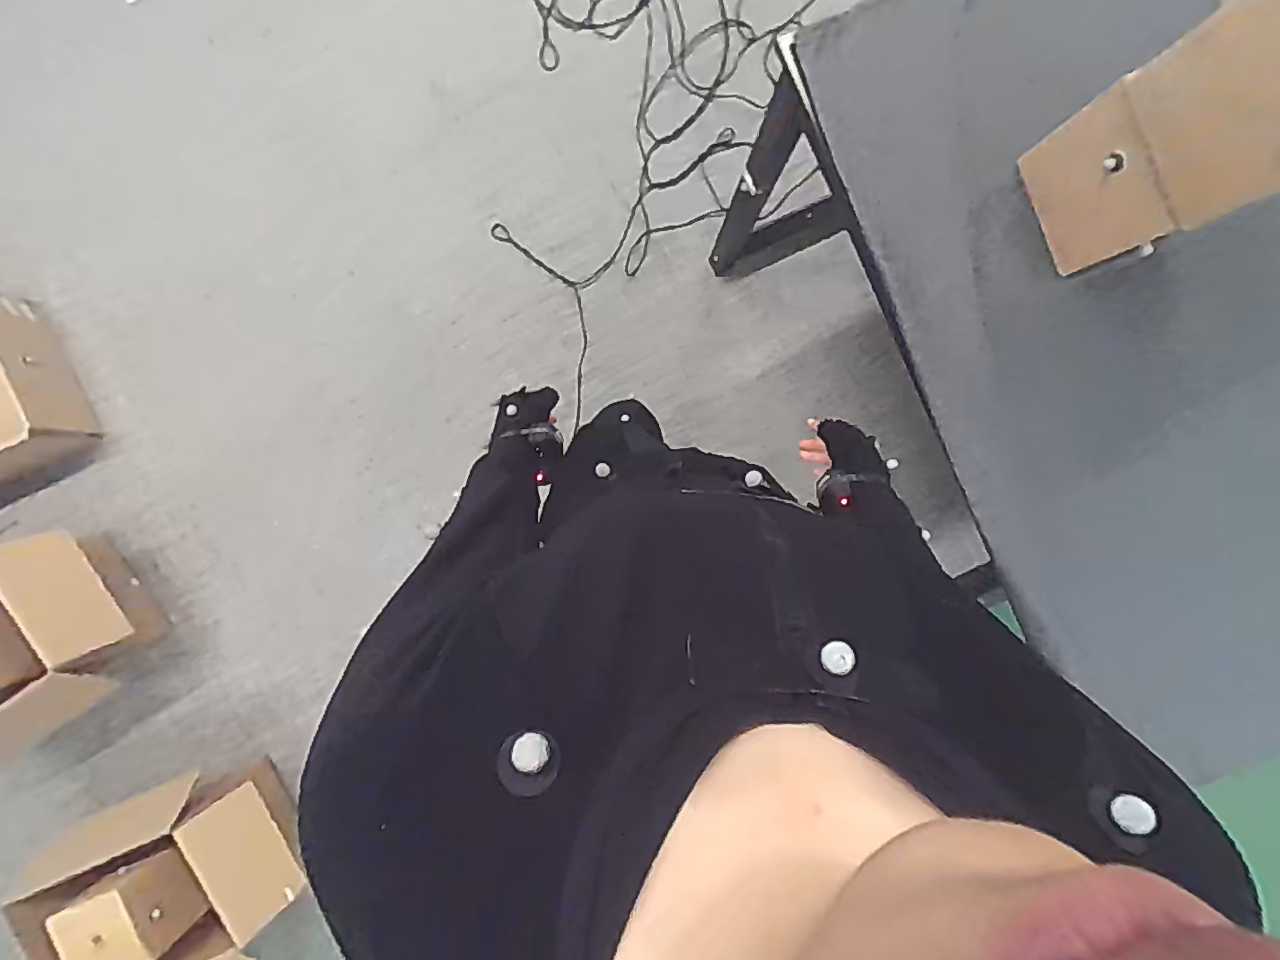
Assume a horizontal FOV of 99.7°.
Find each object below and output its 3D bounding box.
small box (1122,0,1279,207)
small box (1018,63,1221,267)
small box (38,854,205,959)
[{"bbox_3d":[0.635,-0.395,0.520,0.168,0.176,0.179,-25,92,-2],"label":"small box"},{"bbox_3d":[0.631,-0.404,0.685,0.168,0.176,0.179,-23,92,-2],"label":"small box"},{"bbox_3d":[-1.107,0.958,1.171,0.168,0.176,0.179,-24,90,-1],"label":"small box"}]
